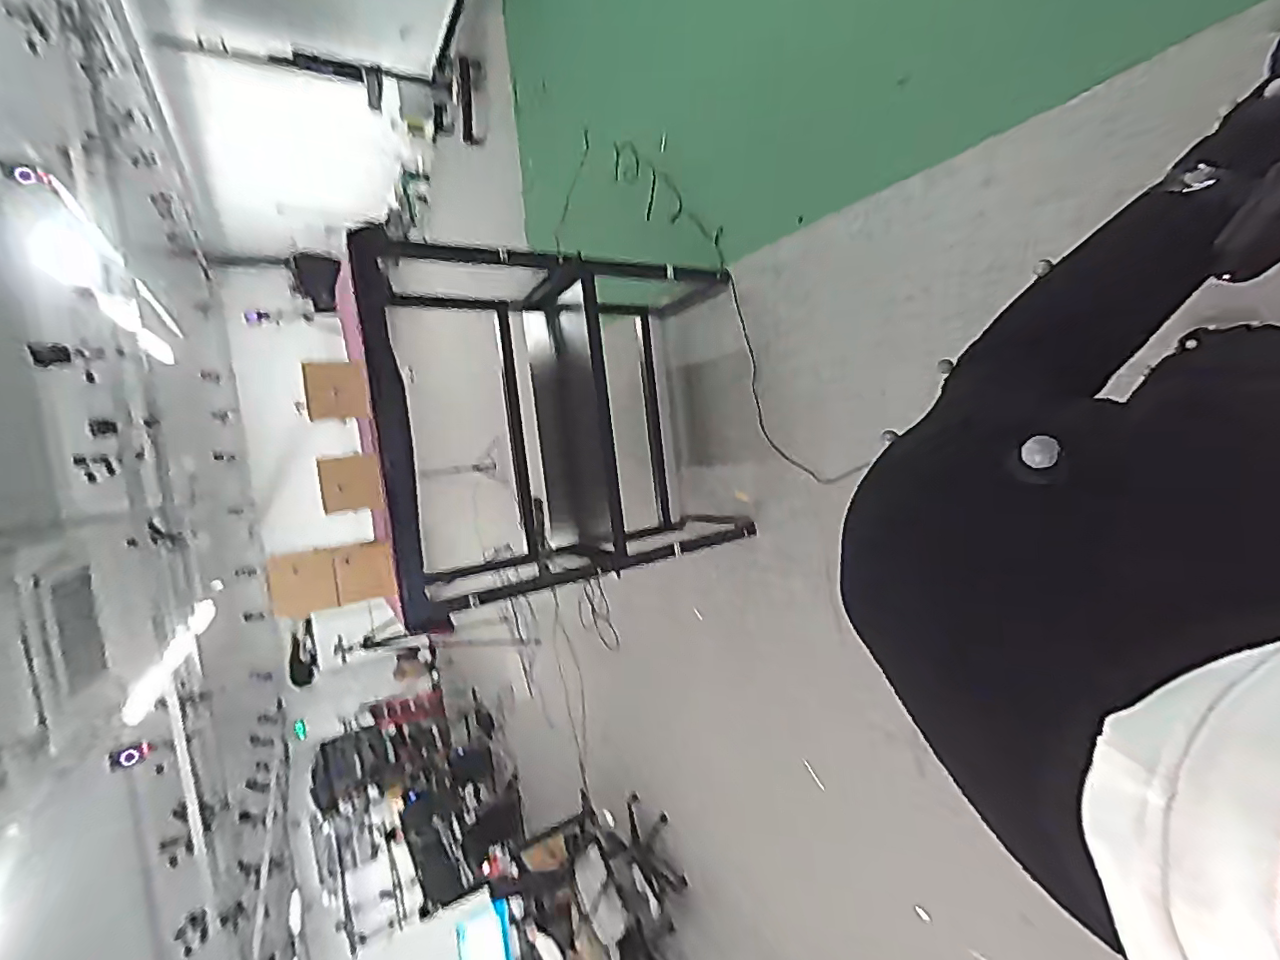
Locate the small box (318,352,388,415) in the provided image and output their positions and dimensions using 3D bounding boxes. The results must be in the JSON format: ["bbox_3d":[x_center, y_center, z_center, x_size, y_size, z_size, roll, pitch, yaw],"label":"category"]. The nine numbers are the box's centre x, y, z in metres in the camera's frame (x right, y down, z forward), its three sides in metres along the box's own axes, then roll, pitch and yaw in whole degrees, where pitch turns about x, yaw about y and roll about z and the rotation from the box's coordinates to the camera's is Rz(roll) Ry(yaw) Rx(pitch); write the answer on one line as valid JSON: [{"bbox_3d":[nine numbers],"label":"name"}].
[{"bbox_3d":[-0.903,-0.303,1.706,0.168,0.176,0.179,6,104,59],"label":"small box"}]

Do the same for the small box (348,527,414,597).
[{"bbox_3d":[-0.835,0.258,1.744,0.168,0.176,0.179,3,100,60],"label":"small box"}]

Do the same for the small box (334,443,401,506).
[{"bbox_3d":[-0.872,-0.021,1.729,0.168,0.176,0.179,5,102,59],"label":"small box"}]
